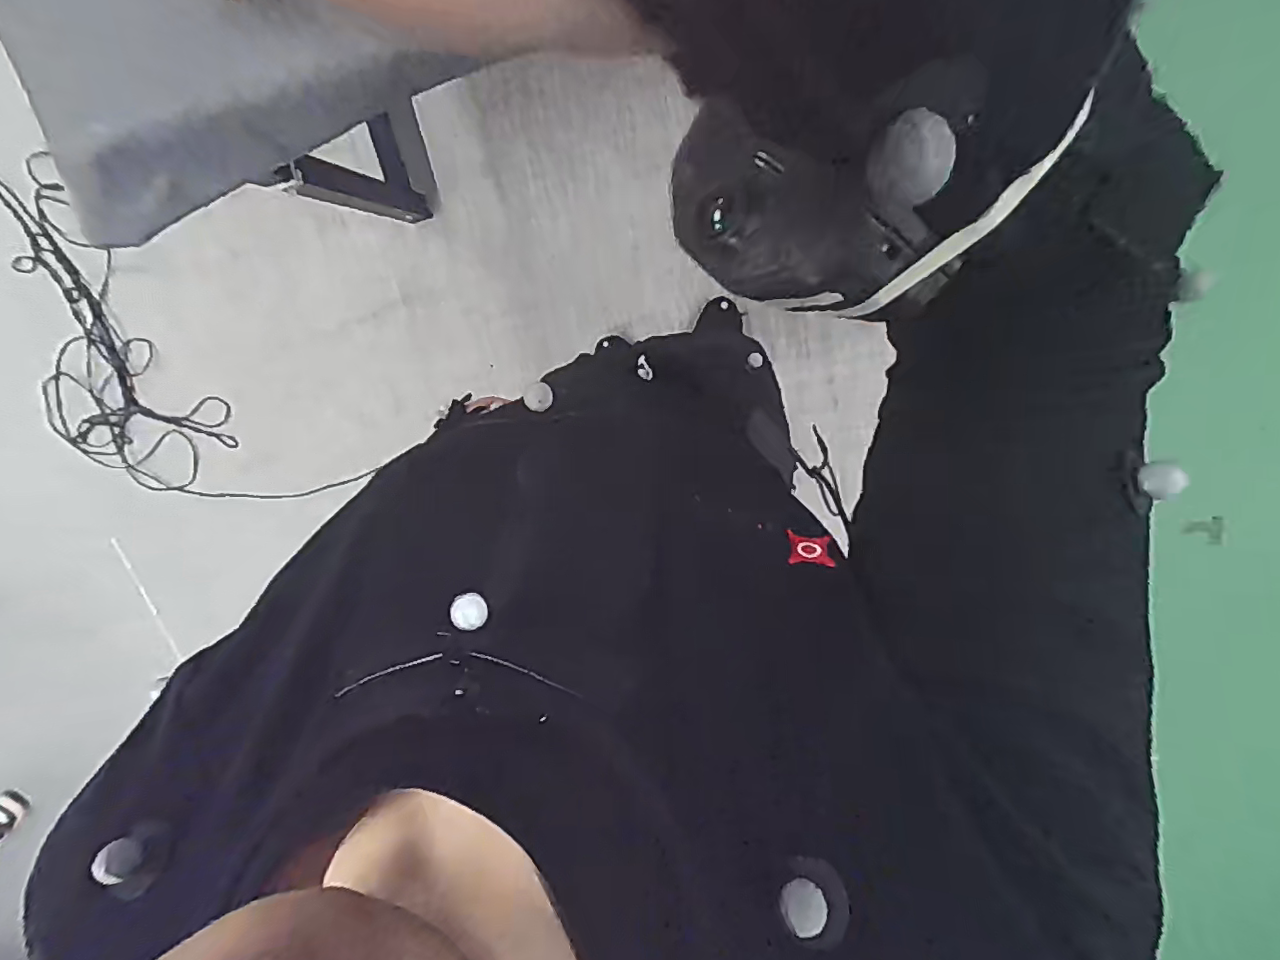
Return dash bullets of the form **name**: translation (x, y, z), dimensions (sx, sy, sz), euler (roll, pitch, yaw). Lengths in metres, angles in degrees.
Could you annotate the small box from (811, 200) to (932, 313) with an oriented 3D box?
- **small box**: translation (0.467, -0.450, 1.110), dimensions (0.179, 0.176, 0.168), euler (-14, 104, 12)
